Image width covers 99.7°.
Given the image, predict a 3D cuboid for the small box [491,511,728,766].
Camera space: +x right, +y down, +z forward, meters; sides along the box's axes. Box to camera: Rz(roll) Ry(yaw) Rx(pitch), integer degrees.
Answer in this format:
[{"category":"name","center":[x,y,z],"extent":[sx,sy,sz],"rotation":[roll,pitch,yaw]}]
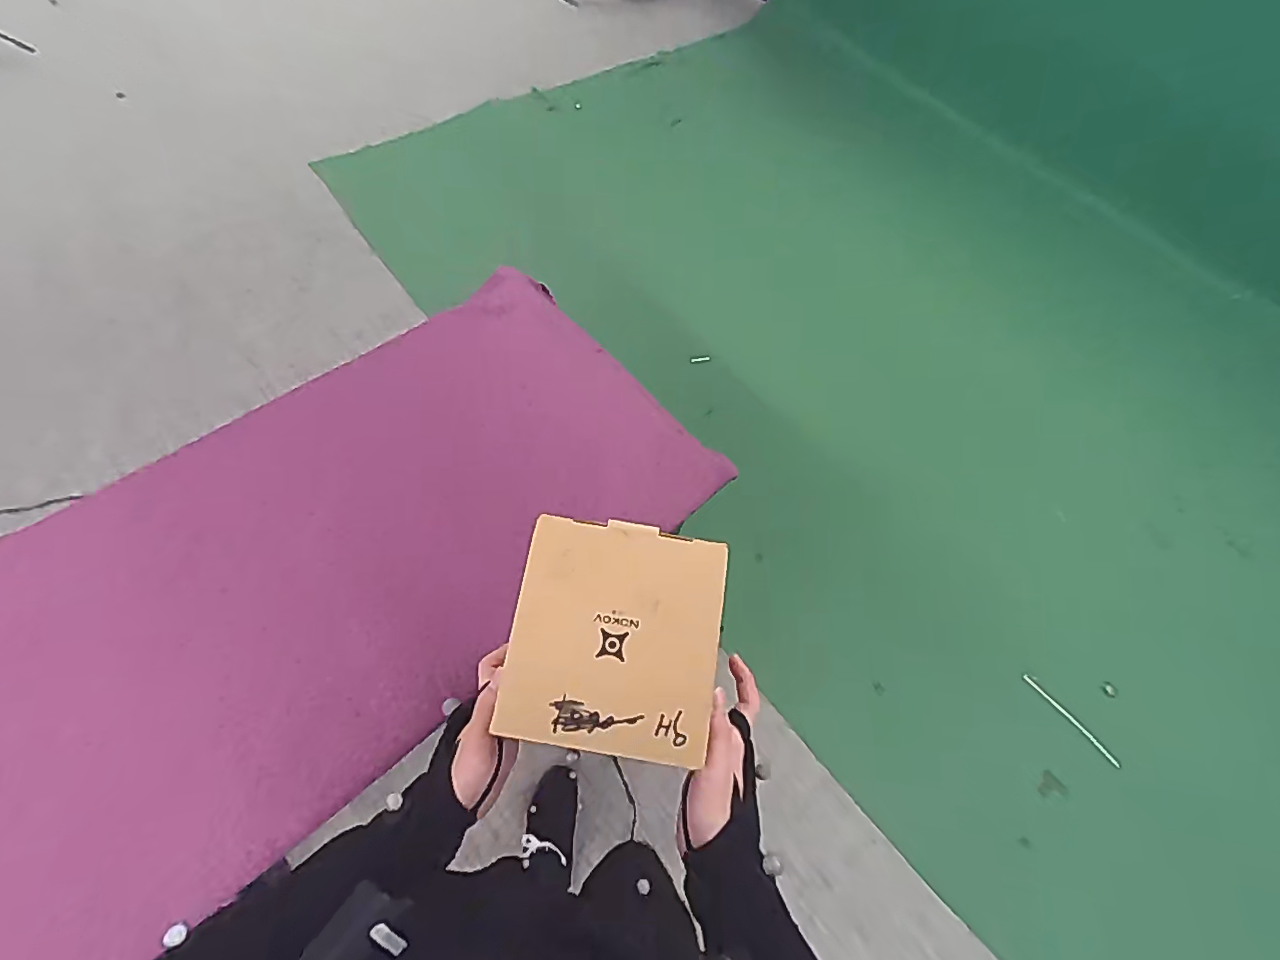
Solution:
[{"category":"small box","center":[-0.021,0.146,0.505],"extent":[0.168,0.176,0.179],"rotation":[9,71,3]}]
